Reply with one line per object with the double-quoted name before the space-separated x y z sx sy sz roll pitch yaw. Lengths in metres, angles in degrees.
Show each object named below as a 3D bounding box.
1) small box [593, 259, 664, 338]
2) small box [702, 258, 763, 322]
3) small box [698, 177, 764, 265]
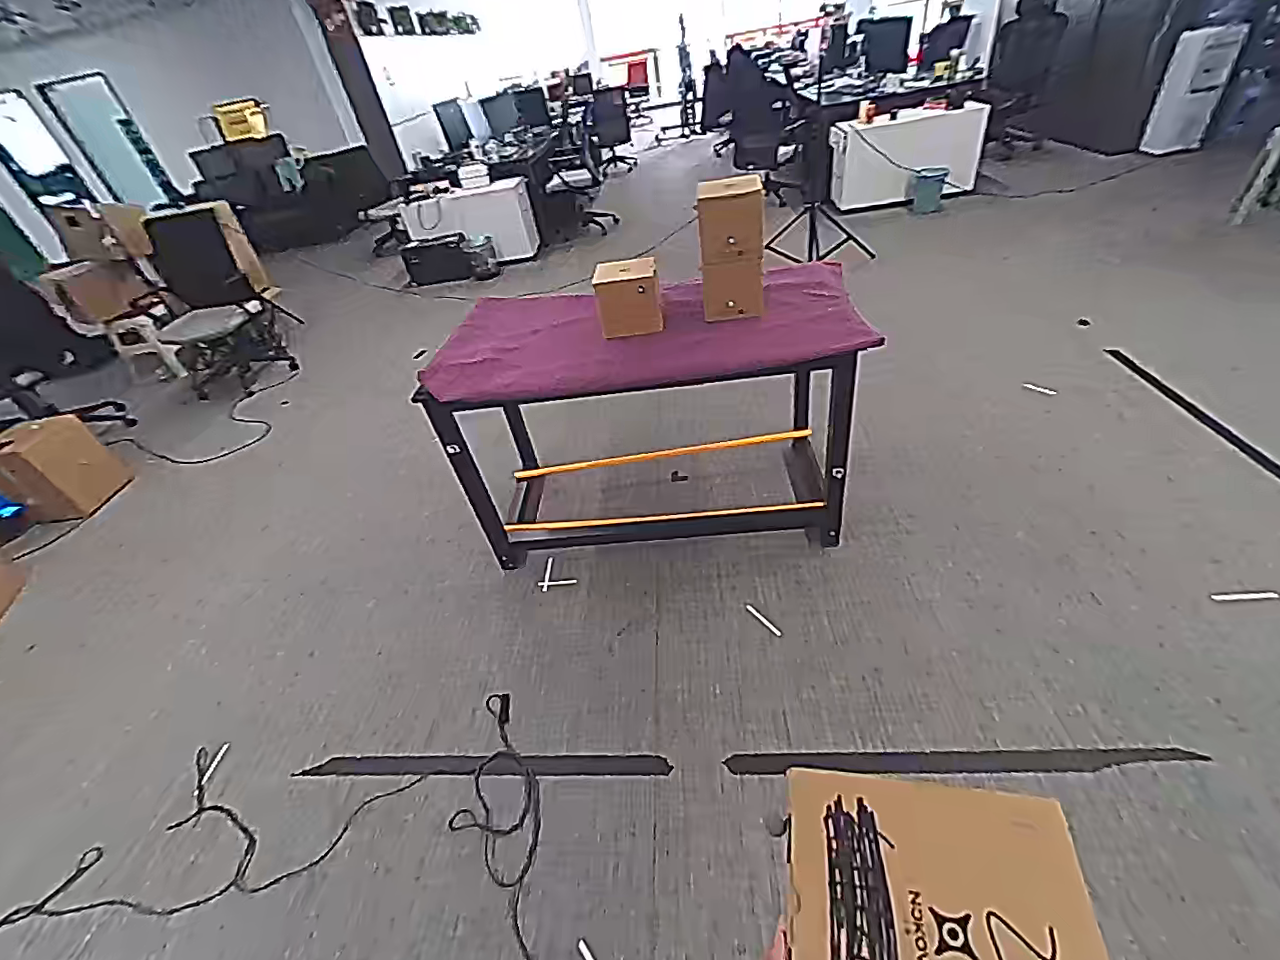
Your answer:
"small box" -0.028 -0.531 1.595 0.179 0.176 0.168 -5 39 7
"small box" 0.270 -0.576 1.574 0.168 0.176 0.179 -3 40 11
"small box" 0.248 -0.702 1.470 0.168 0.176 0.179 -4 40 11
